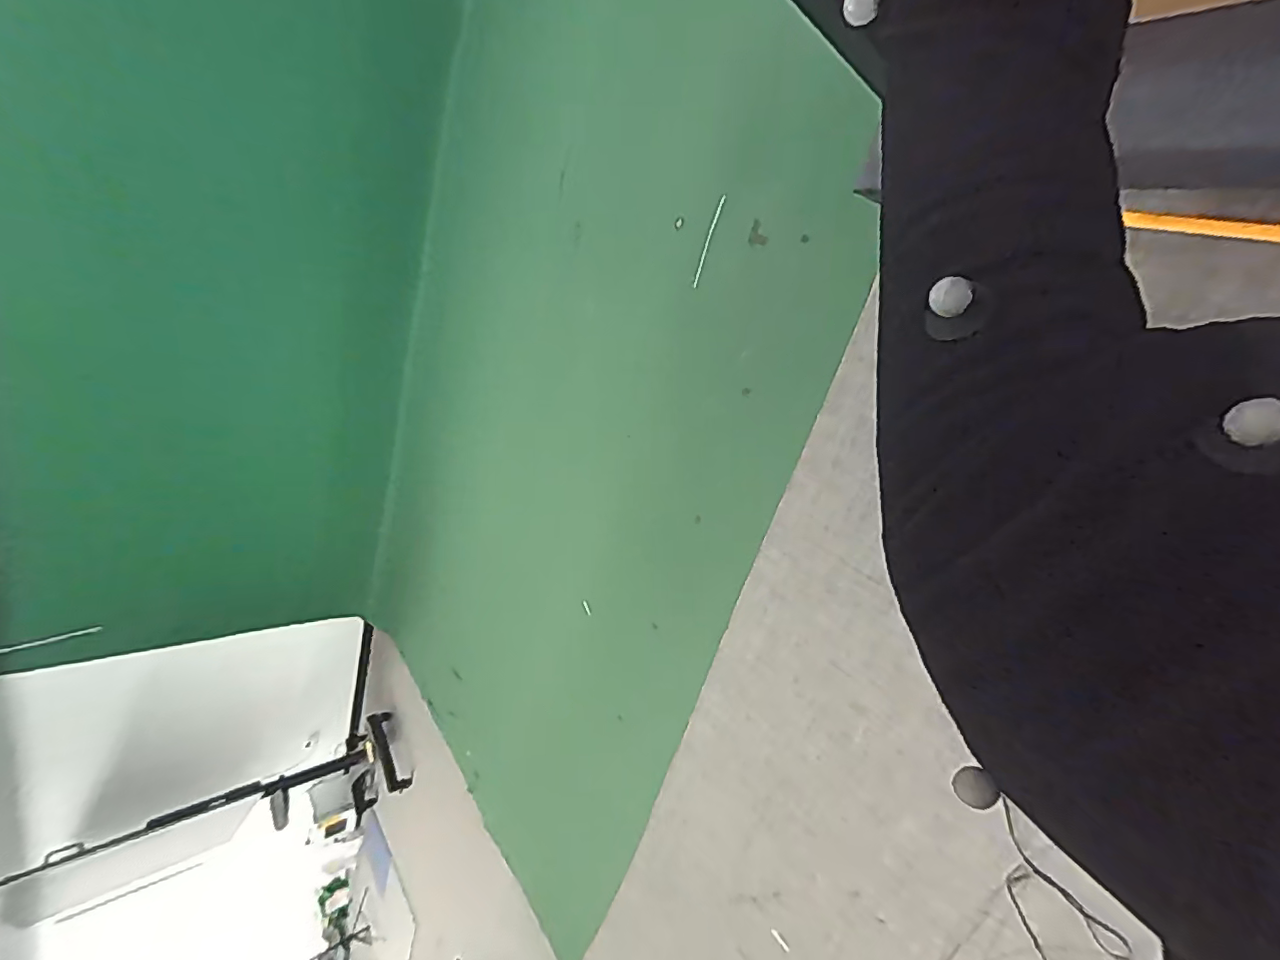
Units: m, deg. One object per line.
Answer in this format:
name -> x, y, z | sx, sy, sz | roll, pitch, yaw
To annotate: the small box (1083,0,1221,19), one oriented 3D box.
small box -> 0.521, -0.562, 0.483 | 0.179, 0.176, 0.168 | 27, 111, 42
